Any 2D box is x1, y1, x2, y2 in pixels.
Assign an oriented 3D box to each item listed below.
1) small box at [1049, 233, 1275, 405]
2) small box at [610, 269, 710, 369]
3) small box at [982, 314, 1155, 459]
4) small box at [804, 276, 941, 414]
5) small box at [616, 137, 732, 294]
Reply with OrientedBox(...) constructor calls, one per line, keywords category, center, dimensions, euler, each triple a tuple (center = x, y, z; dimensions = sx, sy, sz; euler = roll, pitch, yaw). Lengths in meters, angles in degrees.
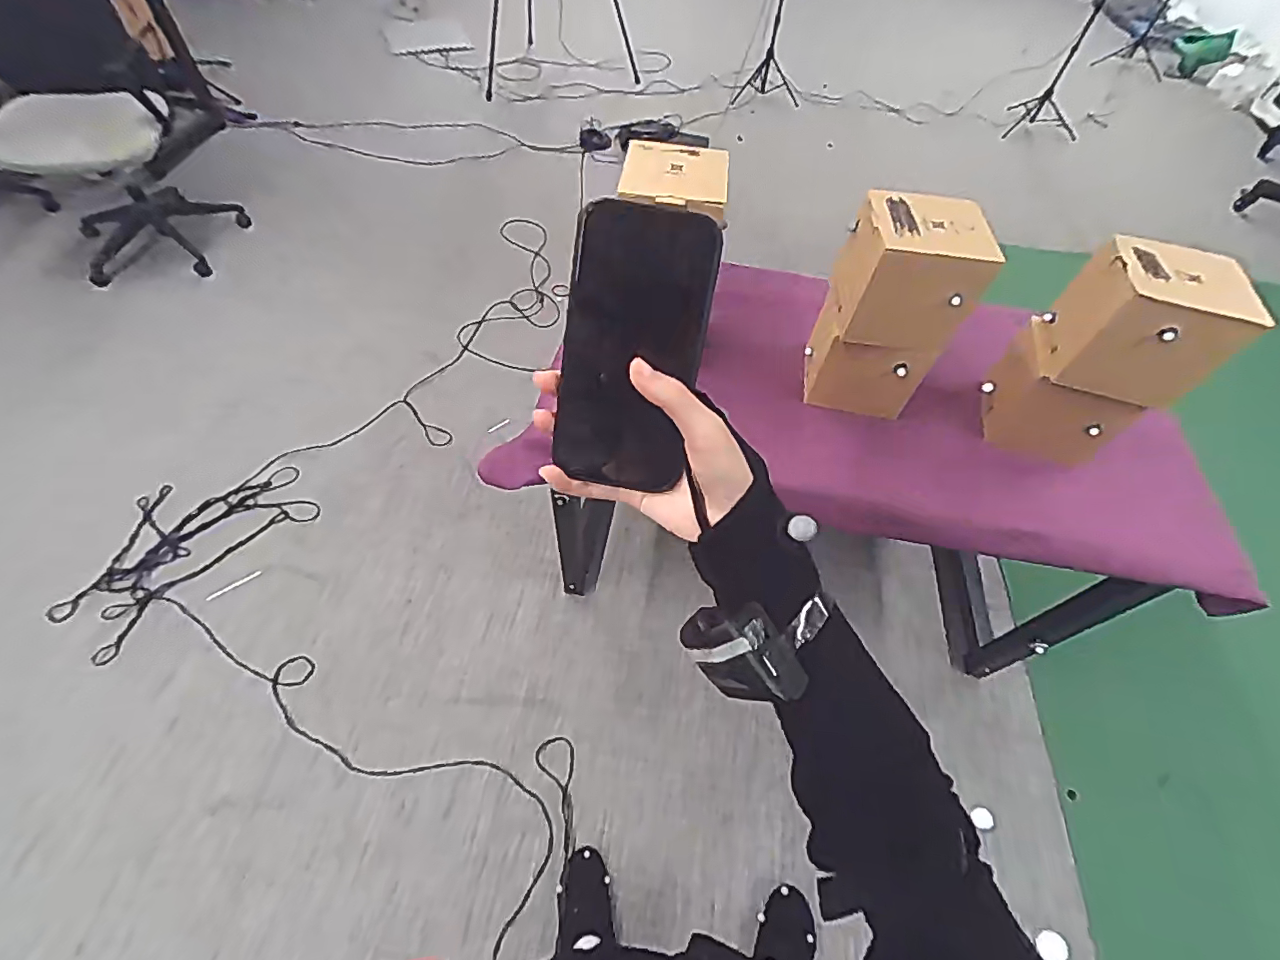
OrientedBox(category="small box", center=(0.764, -0.239, 0.823), dimensions=(0.179, 0.176, 0.168), euler=(17, 56, 7))
OrientedBox(category="small box", center=(0.043, -0.339, 1.038), dimensions=(0.168, 0.176, 0.179), euler=(12, 56, 4))
OrientedBox(category="small box", center=(0.749, -0.161, 0.966), dimensions=(0.179, 0.176, 0.168), euler=(17, 56, 8))
OrientedBox(category="small box", center=(0.420, -0.243, 0.997), dimensions=(0.179, 0.176, 0.168), euler=(12, 55, 4))
OrientedBox(category="small box", center=(0.054, -0.438, 0.908), dimensions=(0.168, 0.176, 0.179), euler=(8, 56, 1))
